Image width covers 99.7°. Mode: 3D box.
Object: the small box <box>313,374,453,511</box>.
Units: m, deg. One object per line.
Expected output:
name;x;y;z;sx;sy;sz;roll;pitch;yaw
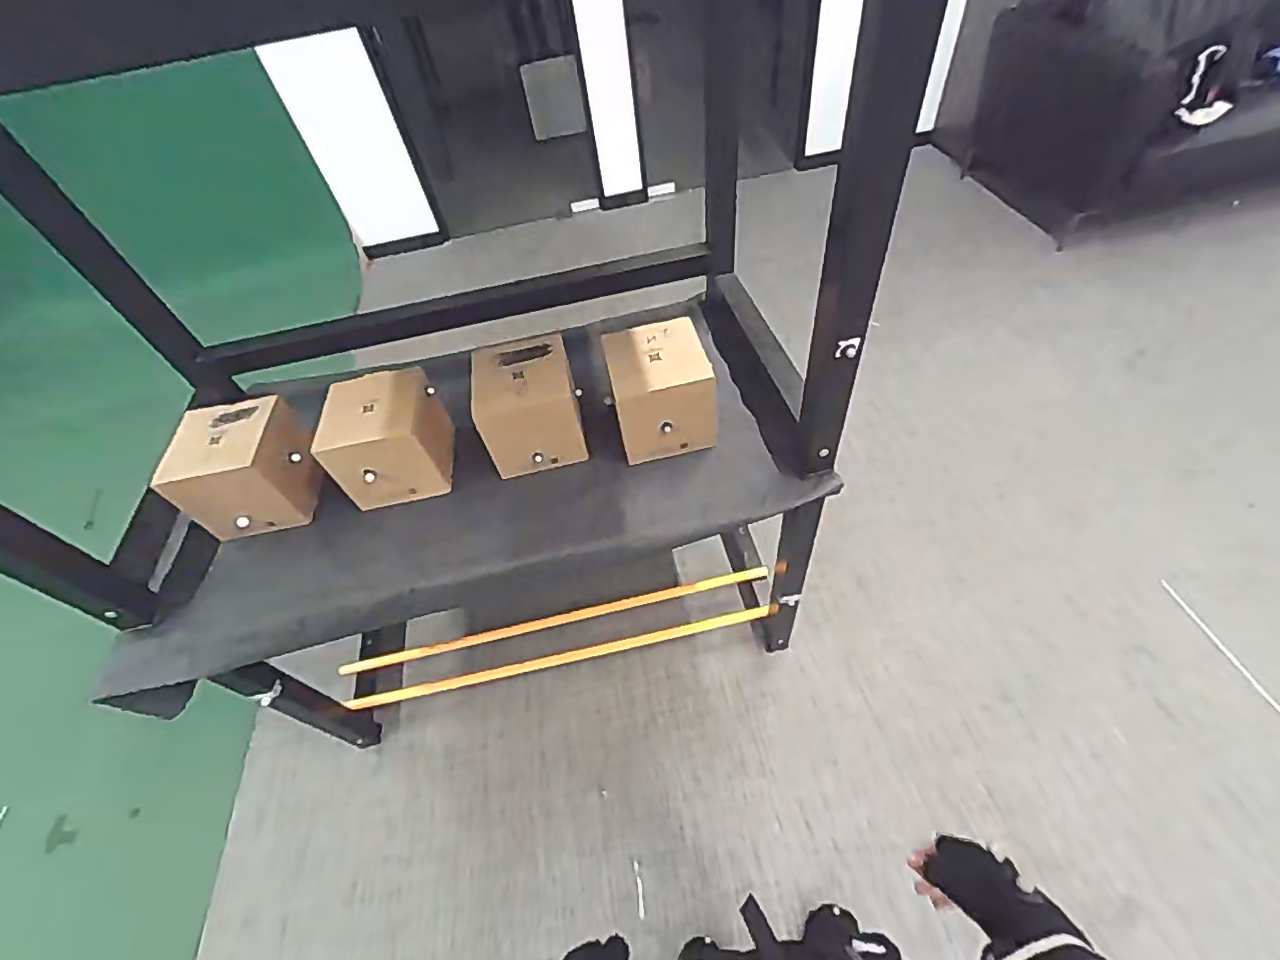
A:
small box;-0.451;-0.061;0.982;0.168;0.176;0.179;-11;50;-2

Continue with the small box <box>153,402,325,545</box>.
small box;-0.699;-0.010;0.972;0.168;0.176;0.179;-11;51;-1

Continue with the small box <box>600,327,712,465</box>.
small box;0.032;-0.145;0.978;0.168;0.176;0.179;-12;50;-2
